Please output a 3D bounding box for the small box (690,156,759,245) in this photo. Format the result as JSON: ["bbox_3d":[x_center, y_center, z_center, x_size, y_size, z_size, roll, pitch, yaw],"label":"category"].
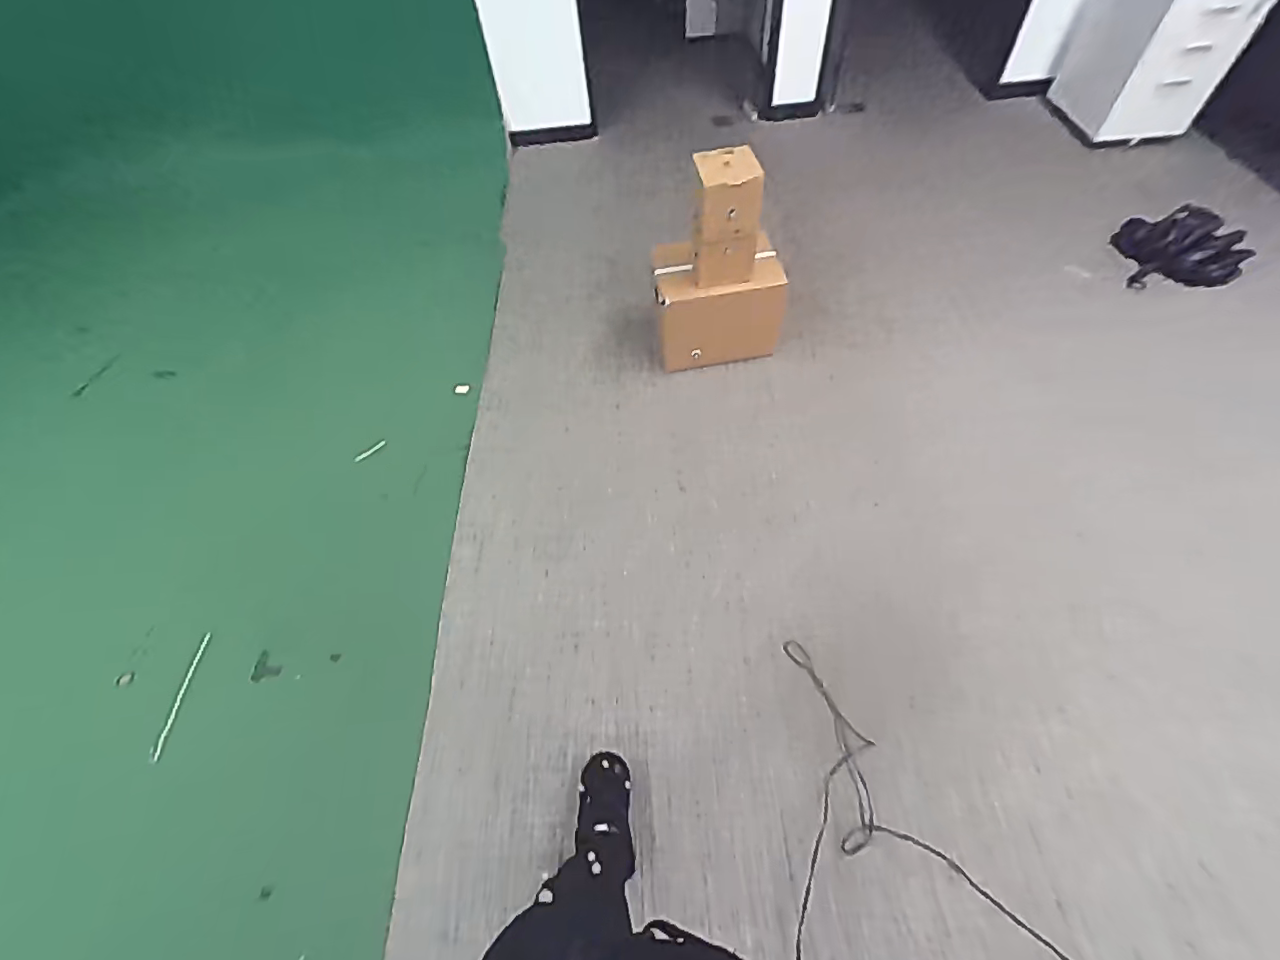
[{"bbox_3d":[0.241,-0.804,1.572,0.168,0.176,0.179,-9,57,-1],"label":"small box"}]

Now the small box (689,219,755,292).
[{"bbox_3d":[0.253,-0.715,1.709,0.179,0.176,0.168,-8,57,-2],"label":"small box"}]
